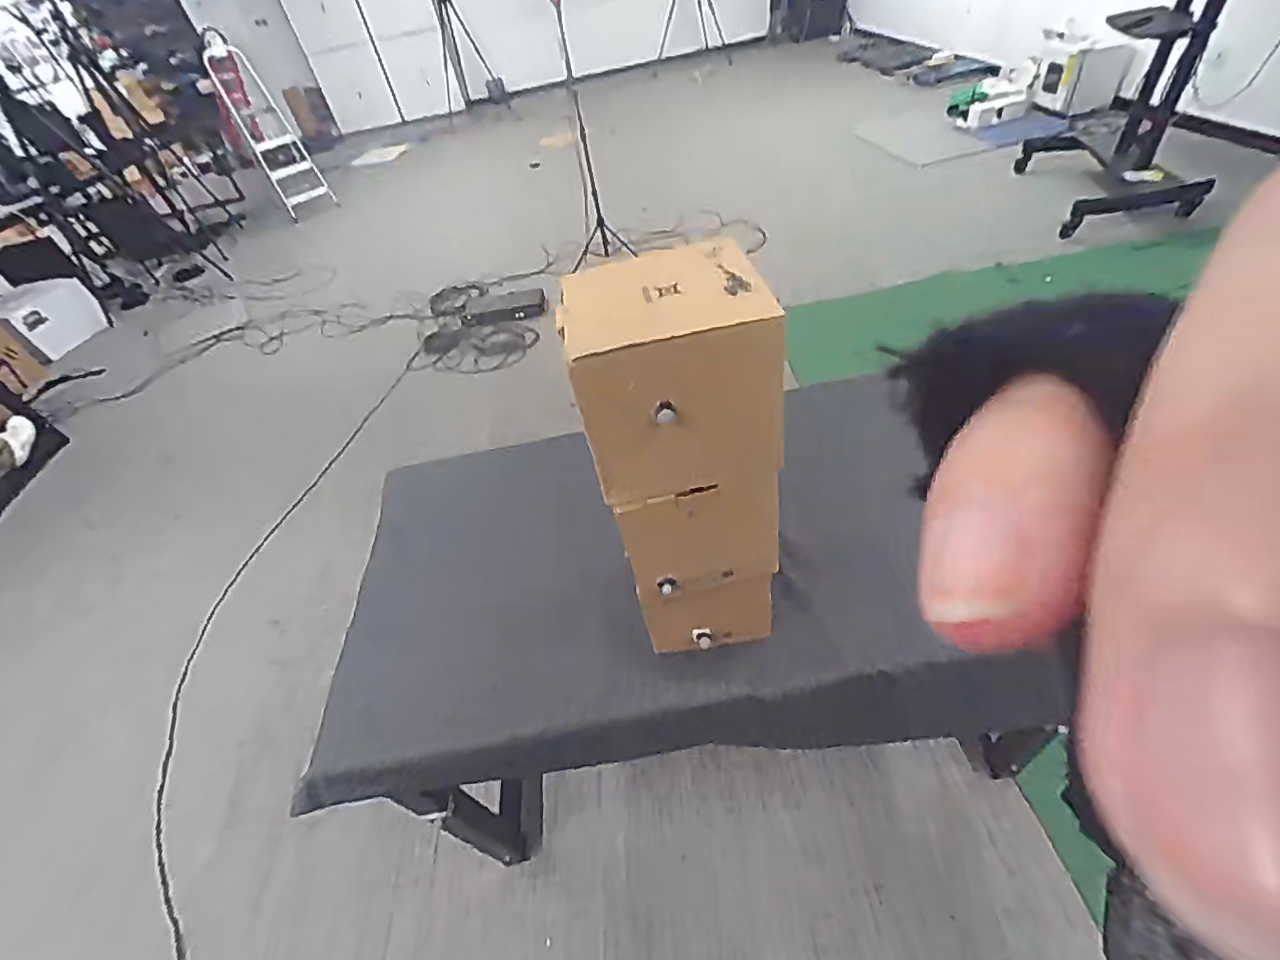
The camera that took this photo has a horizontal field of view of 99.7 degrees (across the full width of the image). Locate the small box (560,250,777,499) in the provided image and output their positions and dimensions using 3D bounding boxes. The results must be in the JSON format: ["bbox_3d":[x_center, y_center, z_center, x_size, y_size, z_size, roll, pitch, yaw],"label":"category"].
[{"bbox_3d":[0.029,-0.102,0.541,0.179,0.176,0.168,-13,42,0],"label":"small box"}]

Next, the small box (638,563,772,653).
[{"bbox_3d":[0.085,0.119,0.772,0.168,0.176,0.179,-11,45,3],"label":"small box"}]

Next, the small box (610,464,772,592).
[{"bbox_3d":[0.054,0.014,0.650,0.168,0.176,0.179,-16,44,-1],"label":"small box"}]
